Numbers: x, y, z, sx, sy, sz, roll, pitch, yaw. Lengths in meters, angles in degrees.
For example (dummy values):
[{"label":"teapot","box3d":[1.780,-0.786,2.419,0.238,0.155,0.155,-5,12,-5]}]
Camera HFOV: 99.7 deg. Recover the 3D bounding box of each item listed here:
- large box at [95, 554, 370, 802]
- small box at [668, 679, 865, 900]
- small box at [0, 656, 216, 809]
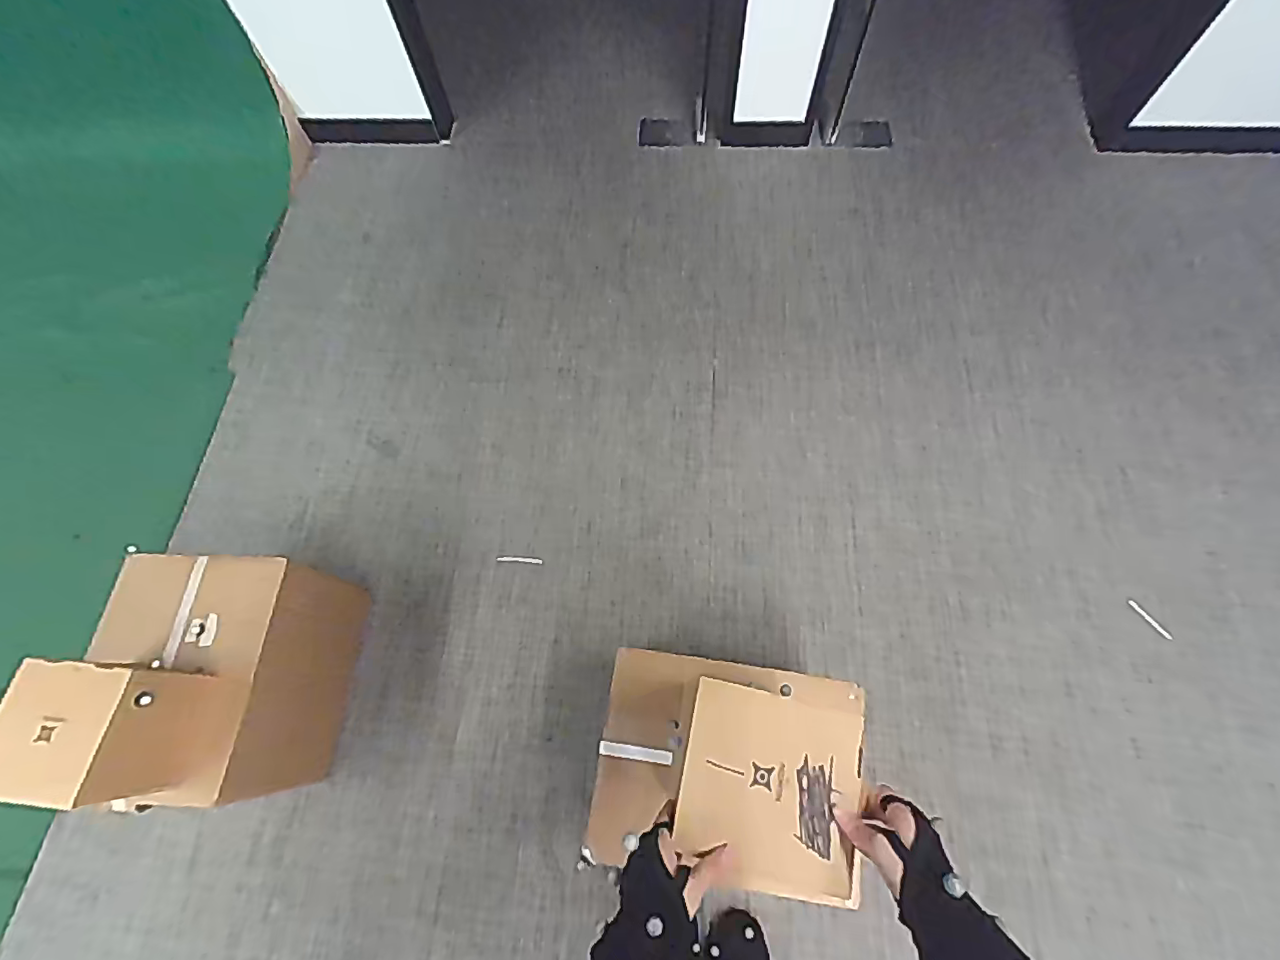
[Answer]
[{"label":"large box","box3d":[-0.796,0.384,1.070,0.320,0.320,0.408,2,67,3]},{"label":"small box","box3d":[0.133,0.332,0.616,0.179,0.176,0.168,11,69,8]},{"label":"small box","box3d":[-0.795,0.370,0.809,0.168,0.176,0.179,5,67,3]}]
